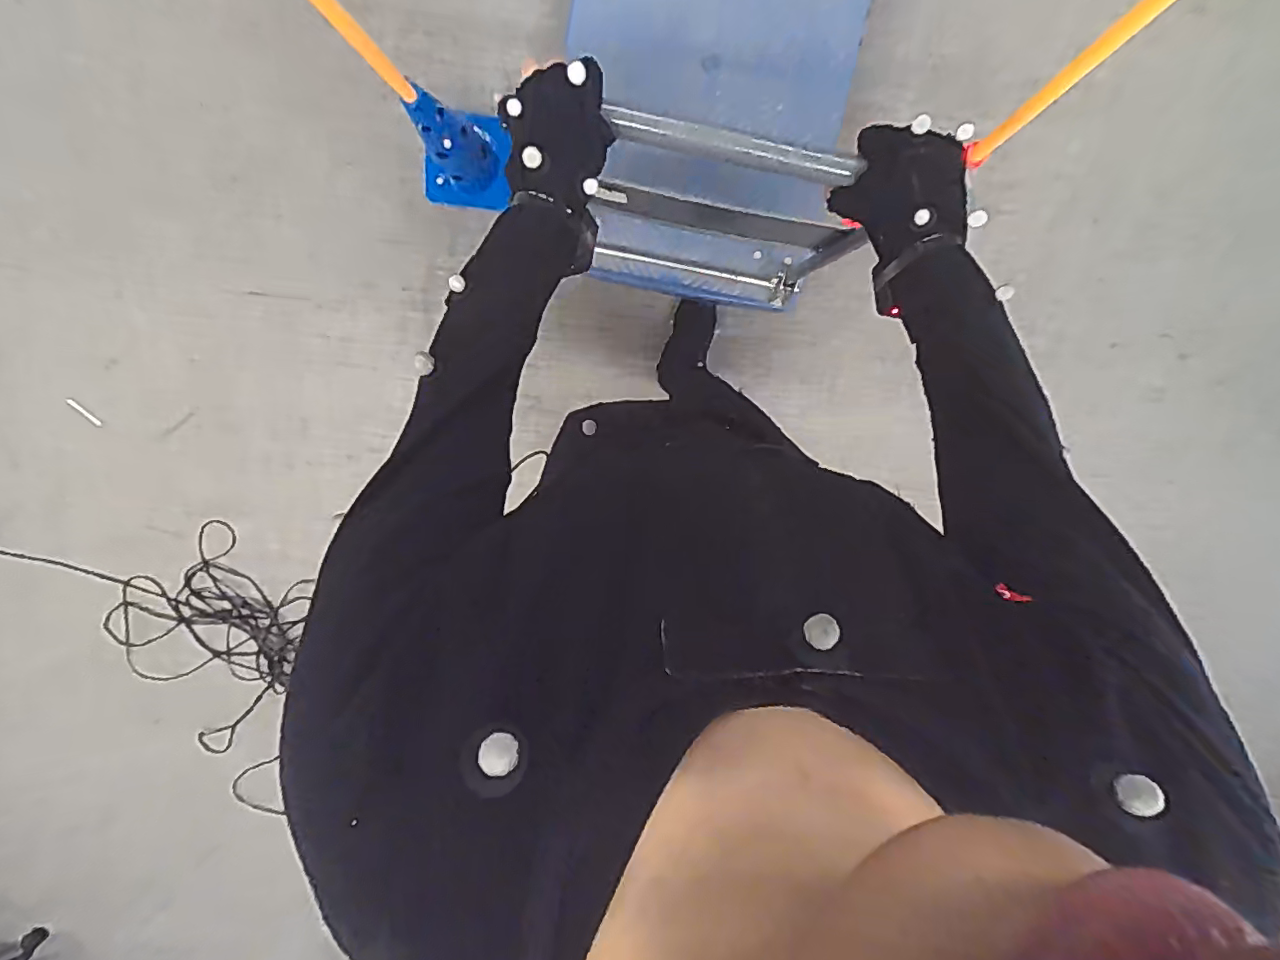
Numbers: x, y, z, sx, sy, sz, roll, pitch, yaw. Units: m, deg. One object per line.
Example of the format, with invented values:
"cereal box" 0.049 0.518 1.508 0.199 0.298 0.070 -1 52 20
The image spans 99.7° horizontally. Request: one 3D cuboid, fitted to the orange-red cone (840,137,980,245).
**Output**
"orange-red cone" 0.600 -0.646 1.157 0.199 0.360 0.198 6 104 -1
